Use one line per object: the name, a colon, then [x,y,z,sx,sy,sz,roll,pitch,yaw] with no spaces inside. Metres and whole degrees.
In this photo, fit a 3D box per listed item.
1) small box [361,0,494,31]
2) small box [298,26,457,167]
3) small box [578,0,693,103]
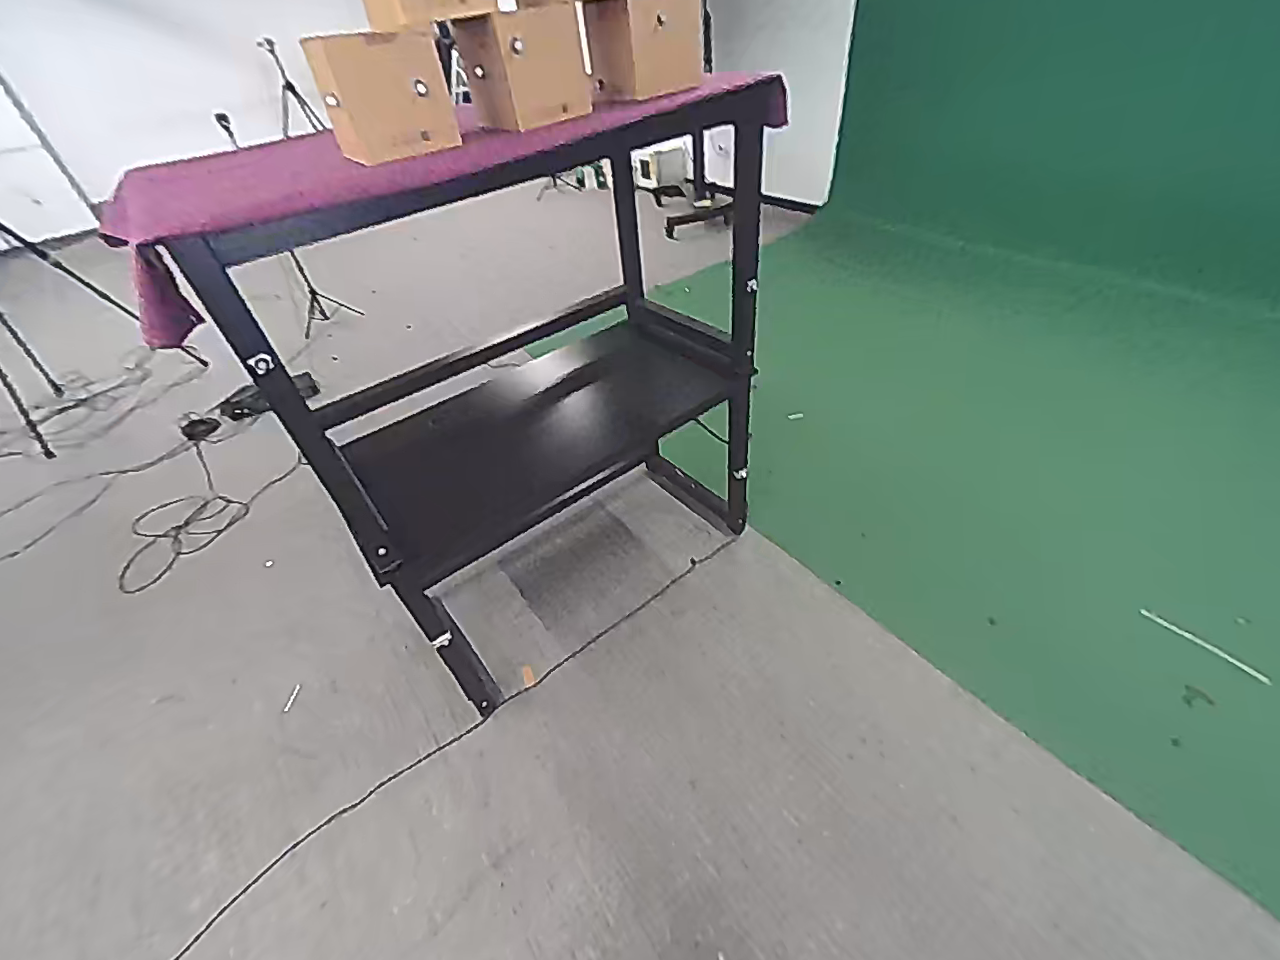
small box: [-0.358,-0.826,0.860,0.168,0.176,0.179,-32,46,-23]
small box: [-0.432,-0.640,0.907,0.168,0.176,0.179,-29,46,-23]
small box: [-0.003,-0.905,1.132,0.179,0.176,0.168,-31,47,-24]
